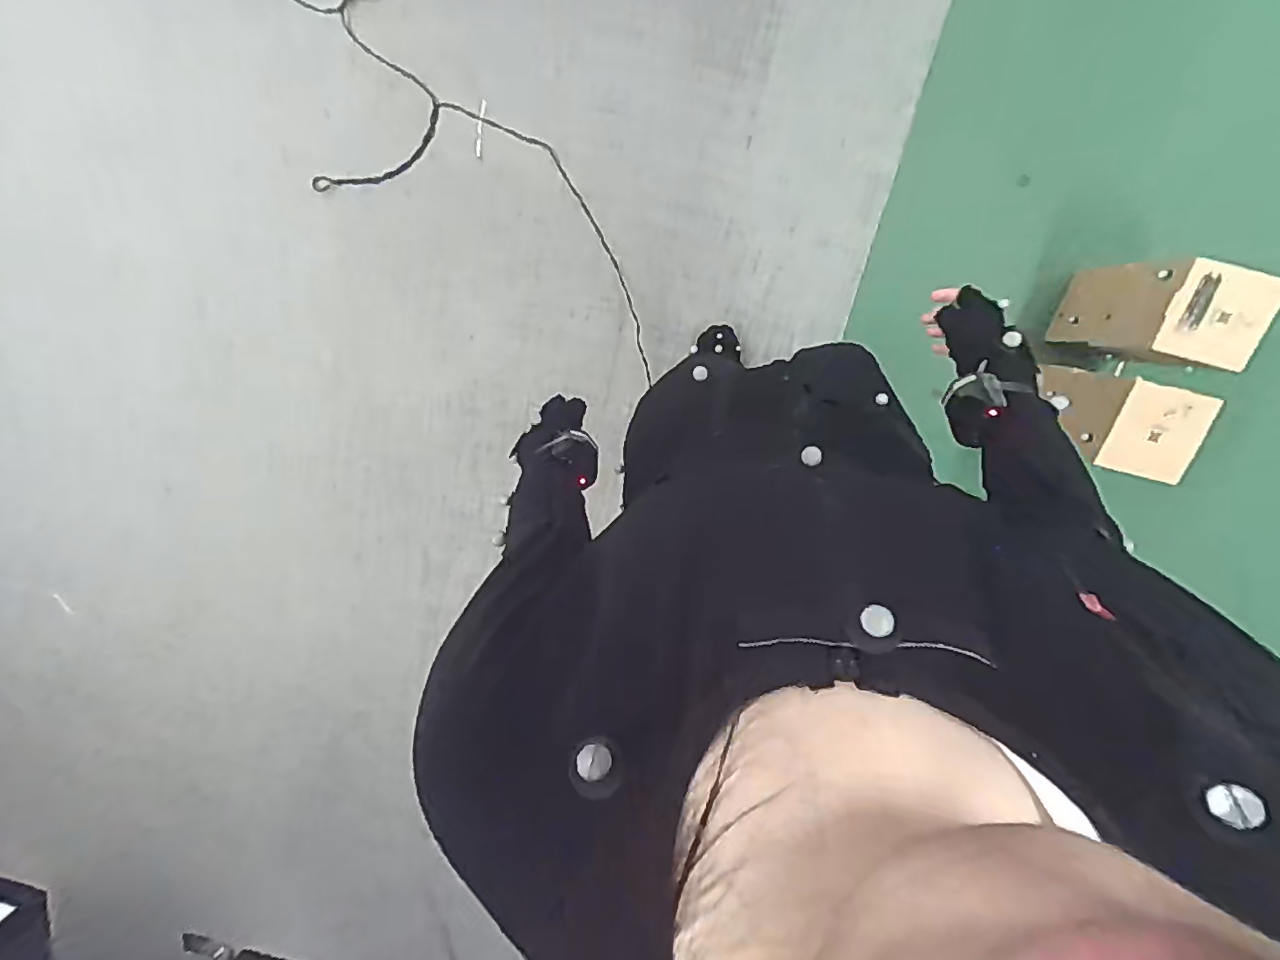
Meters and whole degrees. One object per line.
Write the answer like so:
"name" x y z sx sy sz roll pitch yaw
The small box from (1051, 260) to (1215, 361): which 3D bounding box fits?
"small box" 1.075 -0.370 1.202 0.179 0.176 0.168 18 107 2
